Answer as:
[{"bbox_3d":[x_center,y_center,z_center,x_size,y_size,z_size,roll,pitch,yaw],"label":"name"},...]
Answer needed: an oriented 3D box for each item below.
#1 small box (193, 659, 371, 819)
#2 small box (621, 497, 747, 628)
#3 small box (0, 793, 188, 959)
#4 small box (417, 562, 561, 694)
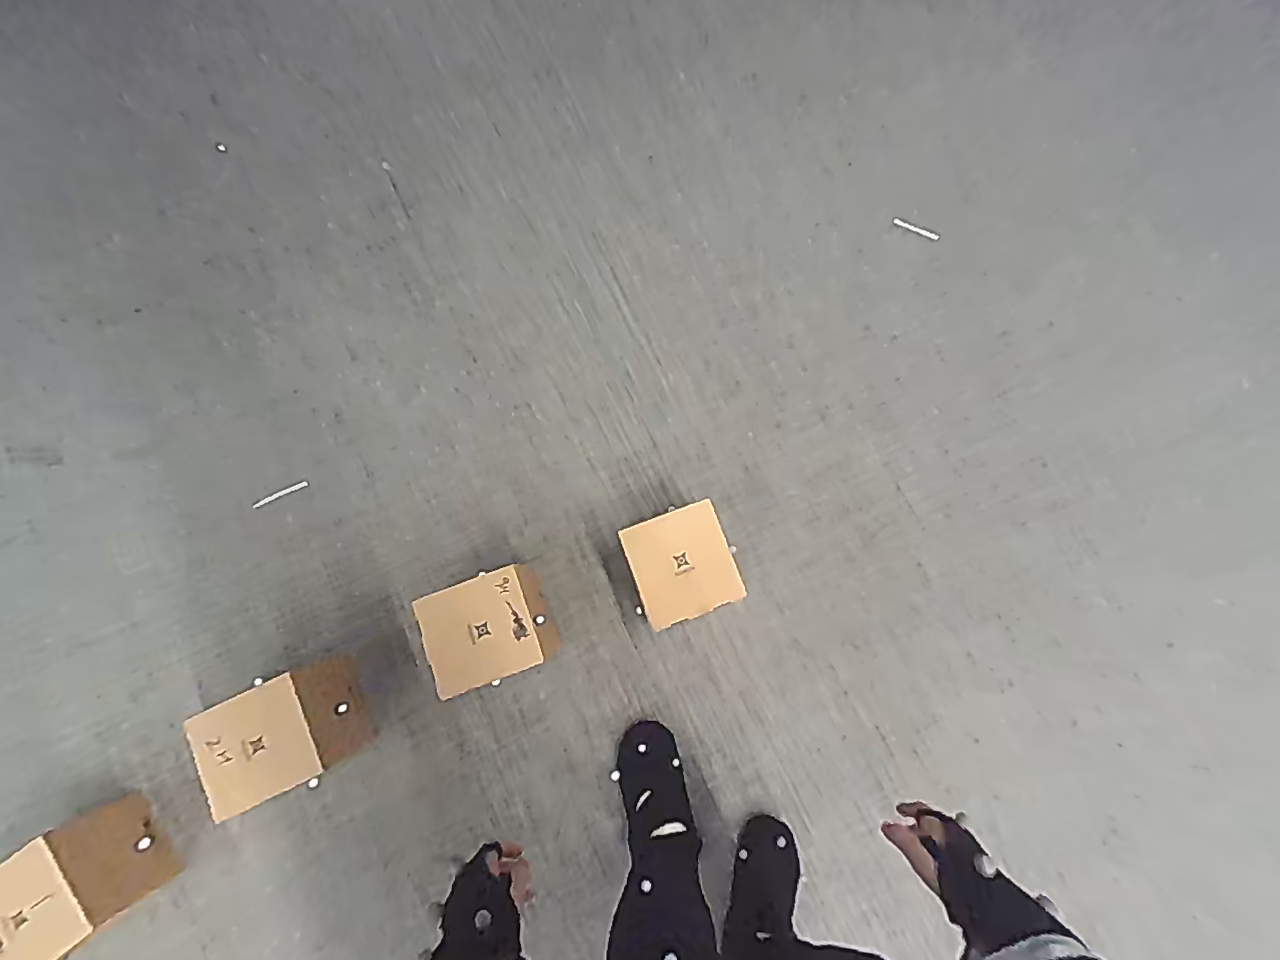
[{"bbox_3d":[-0.588,0.421,0.916,0.179,0.176,0.168,-25,81,-4],"label":"small box"},{"bbox_3d":[0.070,0.147,0.966,0.168,0.176,0.179,-20,81,-4],"label":"small box"},{"bbox_3d":[-0.906,0.658,0.876,0.179,0.176,0.168,-37,82,-7],"label":"small box"},{"bbox_3d":[-0.254,0.251,0.947,0.179,0.176,0.168,-20,81,-2],"label":"small box"}]
